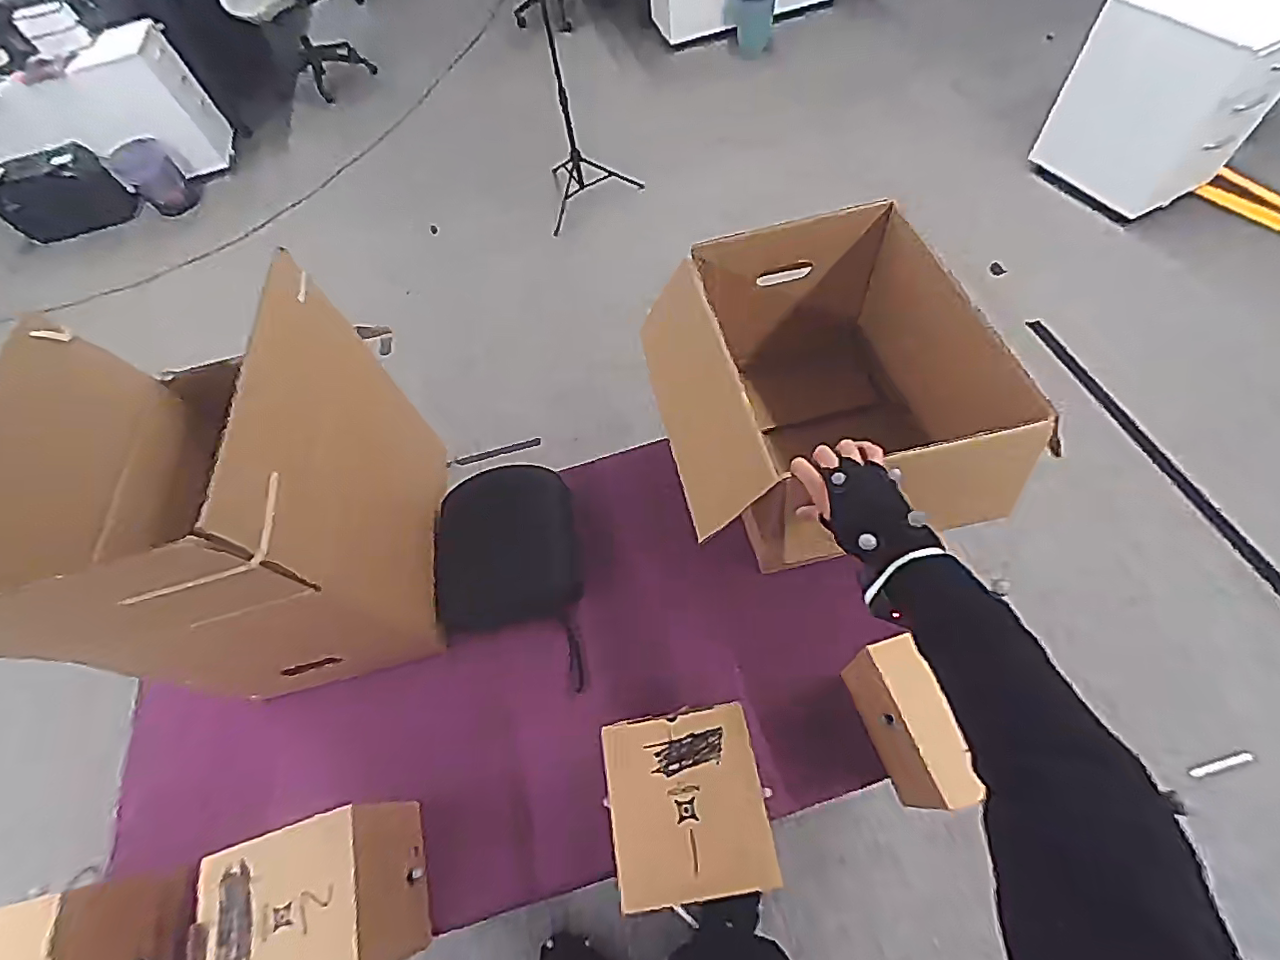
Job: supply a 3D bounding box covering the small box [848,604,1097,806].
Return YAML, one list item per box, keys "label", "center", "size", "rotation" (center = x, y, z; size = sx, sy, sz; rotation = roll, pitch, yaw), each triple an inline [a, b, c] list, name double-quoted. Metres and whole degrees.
- label: "small box"
  center: [0.377, 0.278, 0.660]
  size: [0.168, 0.176, 0.179]
  rotation: [-17, 60, -1]

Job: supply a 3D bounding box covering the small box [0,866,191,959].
- label: "small box"
  center: [-0.698, 0.583, 0.640]
  size: [0.179, 0.176, 0.168]
  rotation: [-14, 60, -2]

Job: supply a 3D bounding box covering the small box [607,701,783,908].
- label: "small box"
  center: [0.060, 0.379, 0.649]
  size: [0.168, 0.176, 0.179]
  rotation: [-11, 62, 2]
